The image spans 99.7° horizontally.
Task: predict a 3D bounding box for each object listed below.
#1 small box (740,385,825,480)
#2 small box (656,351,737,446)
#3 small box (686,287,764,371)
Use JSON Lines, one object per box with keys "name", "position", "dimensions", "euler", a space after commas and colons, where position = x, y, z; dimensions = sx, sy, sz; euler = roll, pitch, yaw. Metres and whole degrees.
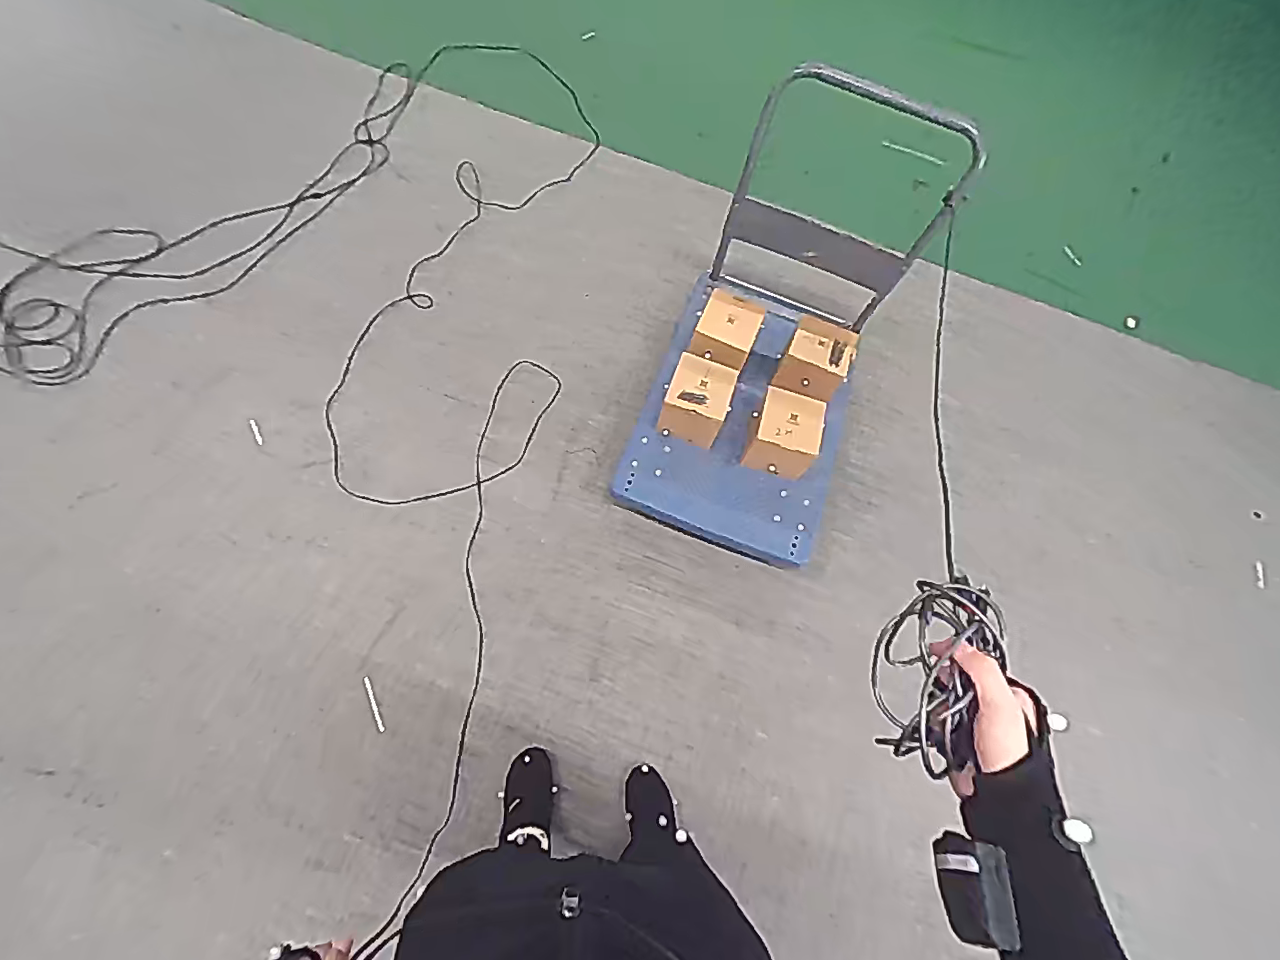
{"name": "small box", "position": [0.389, -0.128, 1.493], "dimensions": [0.168, 0.176, 0.179], "euler": [18, 66, 1]}
{"name": "small box", "position": [0.151, -0.219, 1.501], "dimensions": [0.168, 0.176, 0.179], "euler": [20, 66, 1]}
{"name": "small box", "position": [0.245, -0.426, 1.603], "dimensions": [0.168, 0.176, 0.179], "euler": [23, 66, 2]}
